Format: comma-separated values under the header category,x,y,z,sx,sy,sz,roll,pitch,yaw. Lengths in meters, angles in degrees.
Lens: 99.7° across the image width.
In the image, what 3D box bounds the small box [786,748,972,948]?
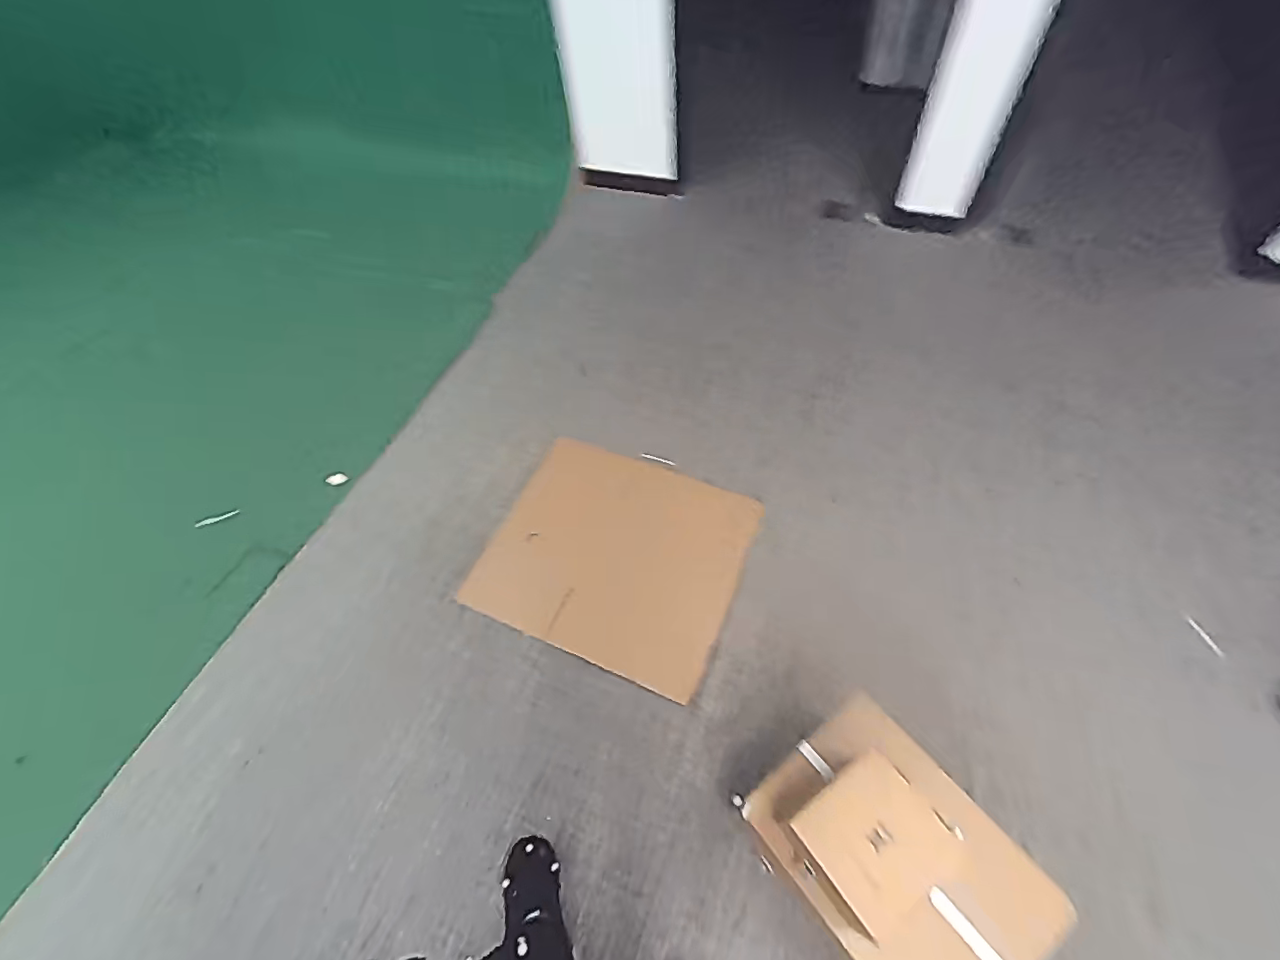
category,x,y,z,sx,sy,sz,roll,pitch,yaw
small box,0.337,0.535,0.804,0.179,0.176,0.168,-34,58,-13
